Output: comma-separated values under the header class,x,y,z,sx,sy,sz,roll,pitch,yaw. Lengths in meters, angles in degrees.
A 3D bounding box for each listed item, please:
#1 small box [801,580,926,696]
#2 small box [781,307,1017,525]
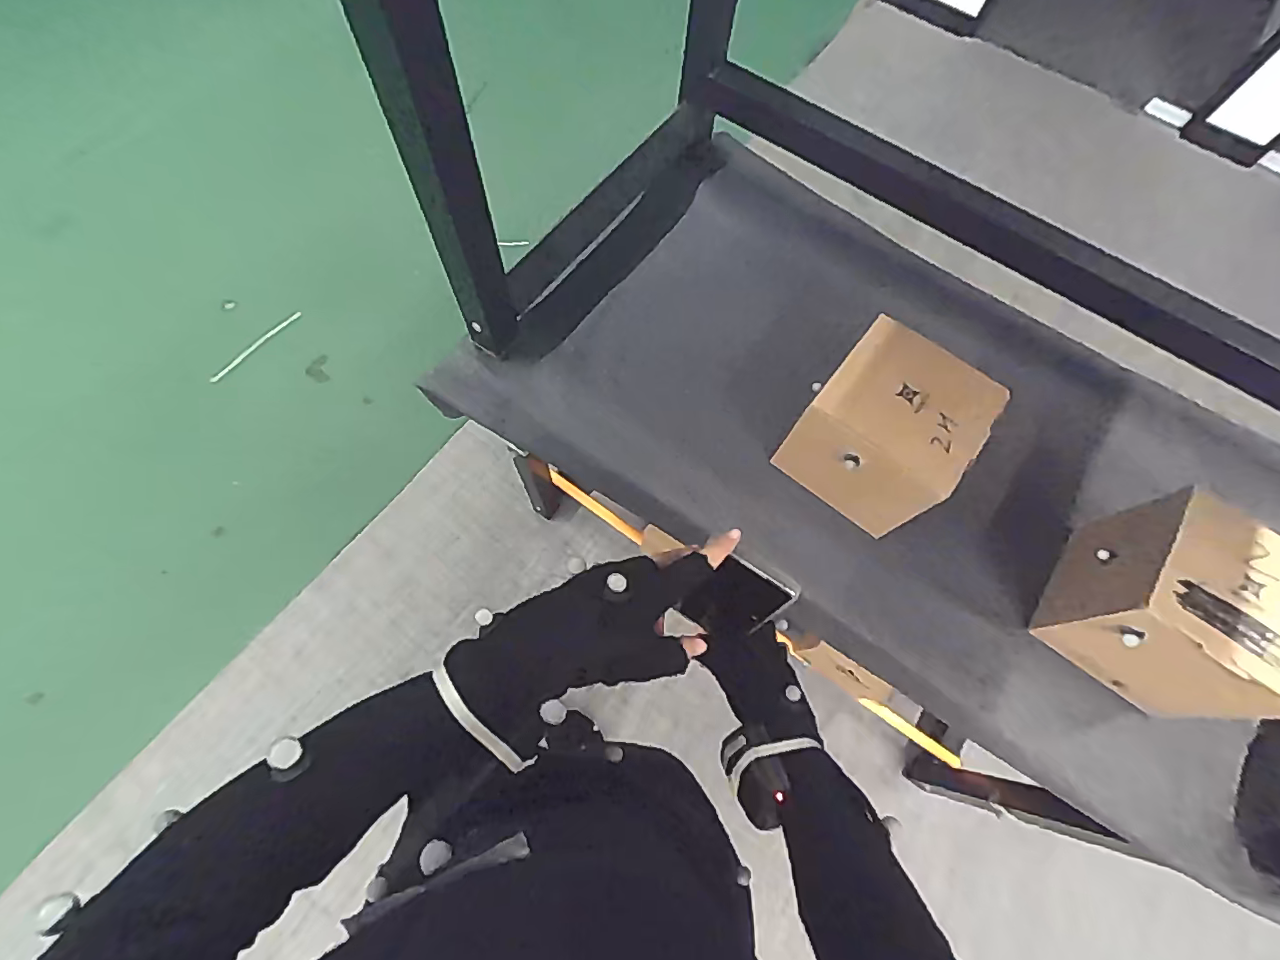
class,x,y,z,sx,sy,sz,roll,pitch,yaw
small box,0.478,0.351,1.188,0.168,0.176,0.179,38,72,11
small box,0.303,-0.069,0.673,0.179,0.176,0.168,38,72,11
